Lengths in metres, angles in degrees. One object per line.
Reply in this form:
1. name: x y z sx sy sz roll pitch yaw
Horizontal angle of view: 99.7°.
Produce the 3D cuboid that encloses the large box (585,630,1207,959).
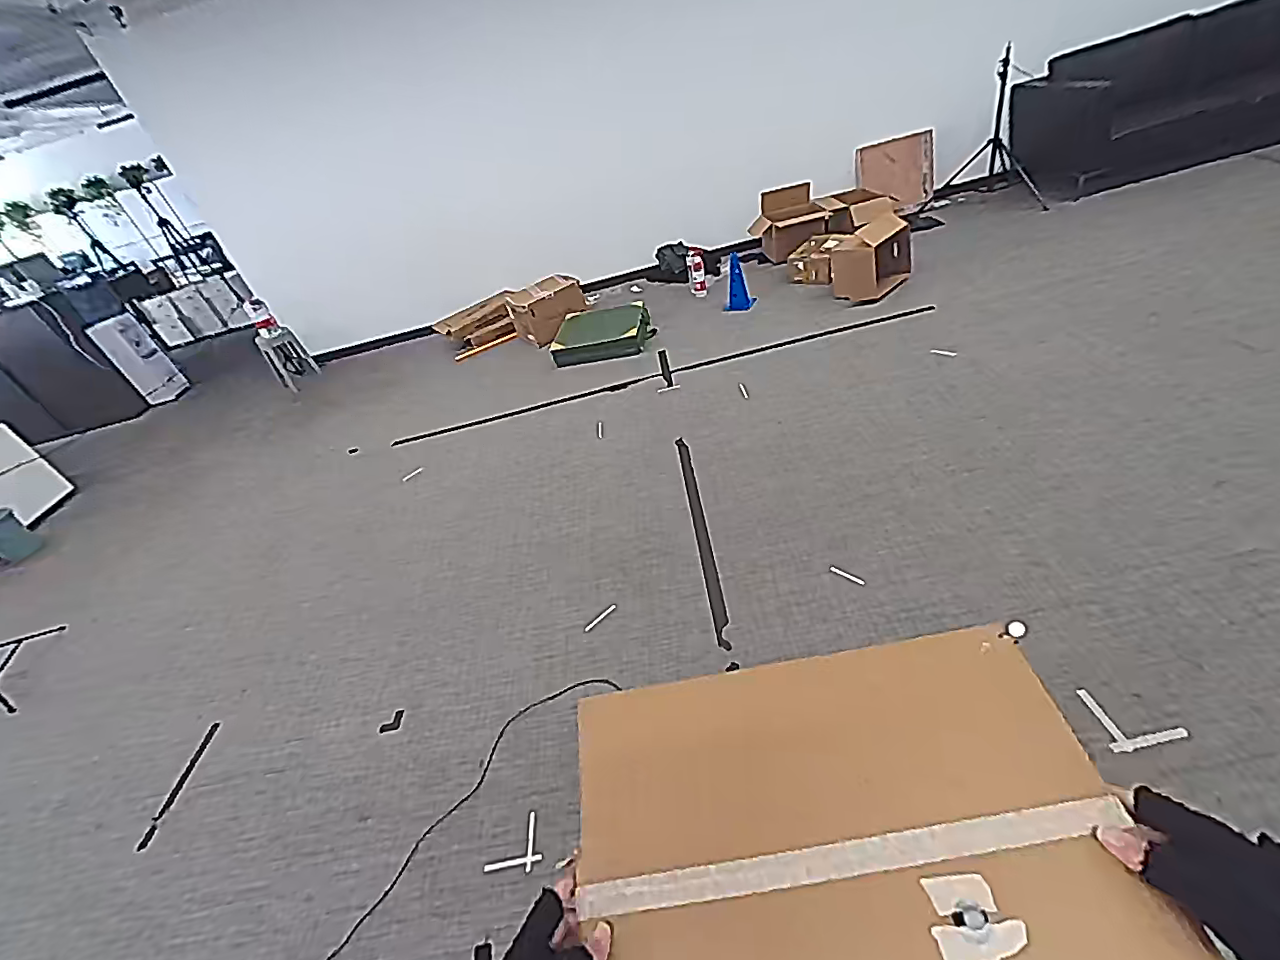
1. large box: 0.182 0.392 0.517 0.408 0.320 0.320 -12 45 2
